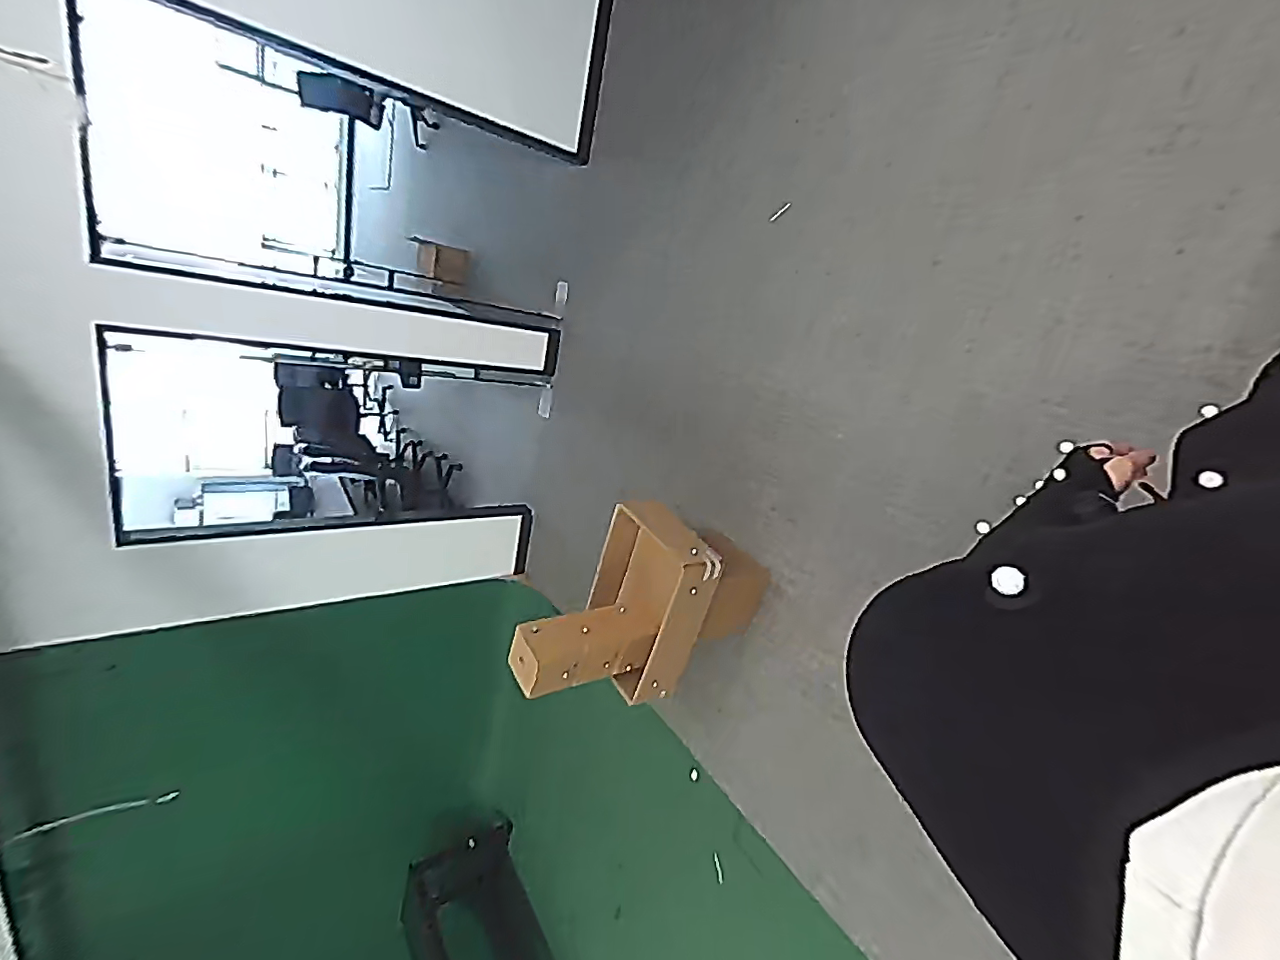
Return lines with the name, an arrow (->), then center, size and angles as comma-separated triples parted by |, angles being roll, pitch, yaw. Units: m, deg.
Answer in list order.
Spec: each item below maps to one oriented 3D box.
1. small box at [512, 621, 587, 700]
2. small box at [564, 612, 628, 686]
small box -> -0.302, 0.591, 1.797 | 0.179, 0.176, 0.168 | 42, 125, 41
small box -> -0.171, 0.584, 1.897 | 0.179, 0.176, 0.168 | 41, 124, 41
